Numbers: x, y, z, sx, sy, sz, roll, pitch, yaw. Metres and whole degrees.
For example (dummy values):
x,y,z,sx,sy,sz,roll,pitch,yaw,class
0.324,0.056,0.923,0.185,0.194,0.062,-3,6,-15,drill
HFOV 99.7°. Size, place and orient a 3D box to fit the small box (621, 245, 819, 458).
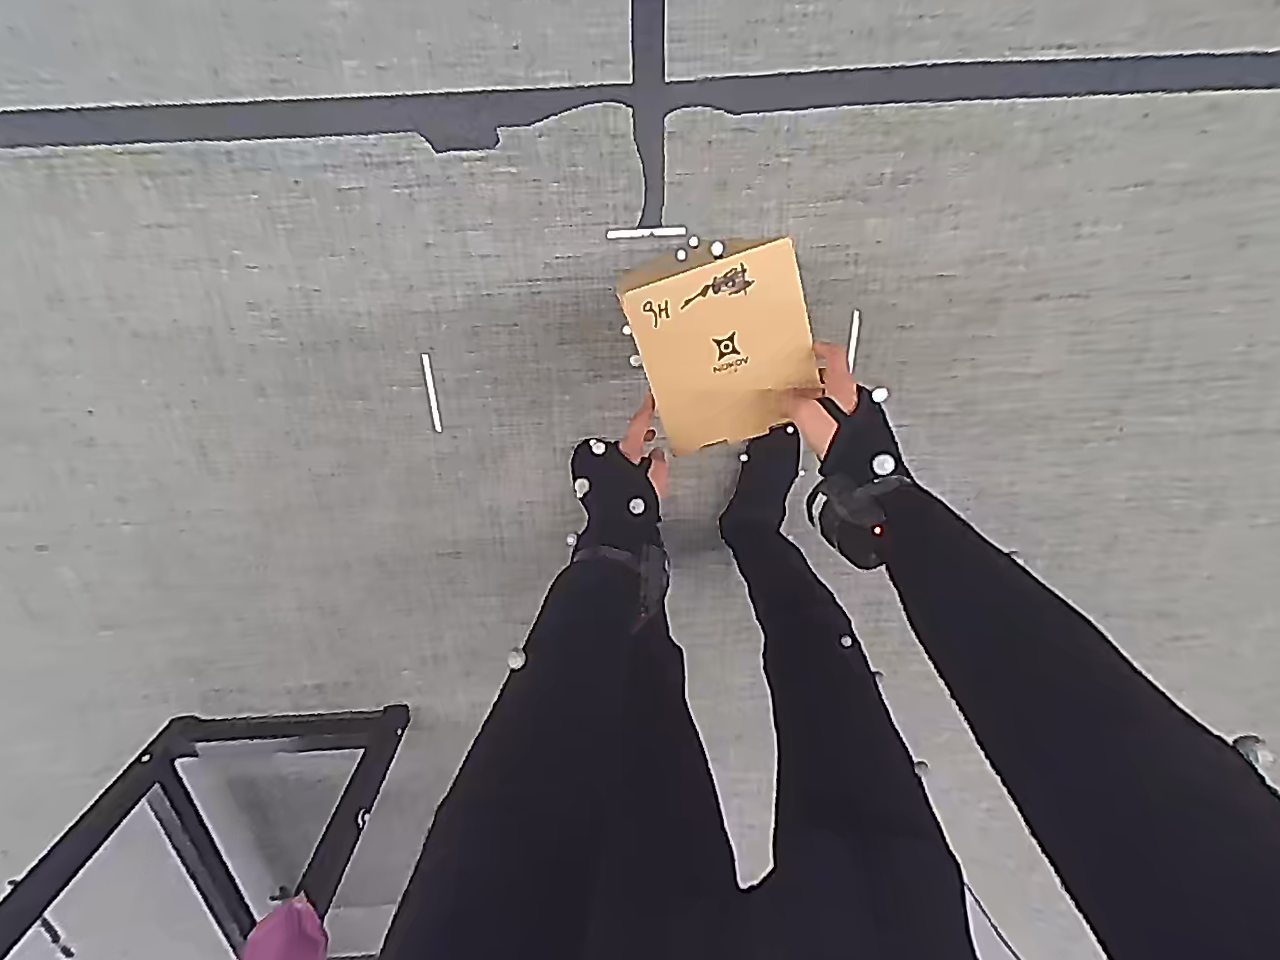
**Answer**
x,y,z,sx,sy,sz,roll,pitch,yaw,class
0.083,-0.152,0.610,0.168,0.176,0.179,-17,113,5,small box
